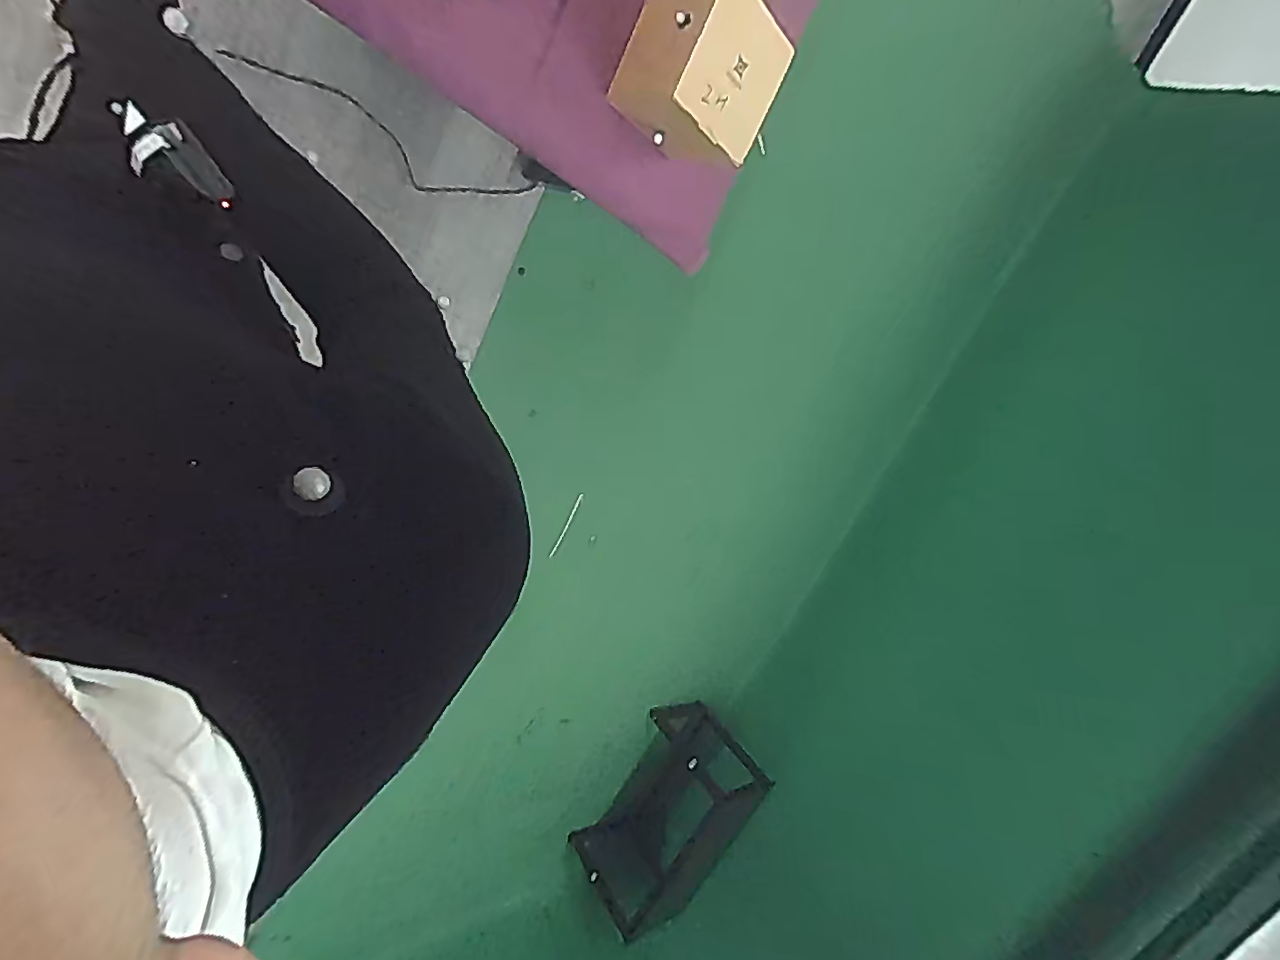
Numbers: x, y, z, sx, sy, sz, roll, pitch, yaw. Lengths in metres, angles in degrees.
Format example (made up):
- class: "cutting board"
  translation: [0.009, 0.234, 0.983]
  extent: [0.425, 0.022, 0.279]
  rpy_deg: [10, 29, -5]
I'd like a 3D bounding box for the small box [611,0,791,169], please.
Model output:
- class: "small box"
  translation: [0.084, -0.603, 0.809]
  extent: [0.168, 0.176, 0.179]
  rpy_deg: [15, 107, -45]
